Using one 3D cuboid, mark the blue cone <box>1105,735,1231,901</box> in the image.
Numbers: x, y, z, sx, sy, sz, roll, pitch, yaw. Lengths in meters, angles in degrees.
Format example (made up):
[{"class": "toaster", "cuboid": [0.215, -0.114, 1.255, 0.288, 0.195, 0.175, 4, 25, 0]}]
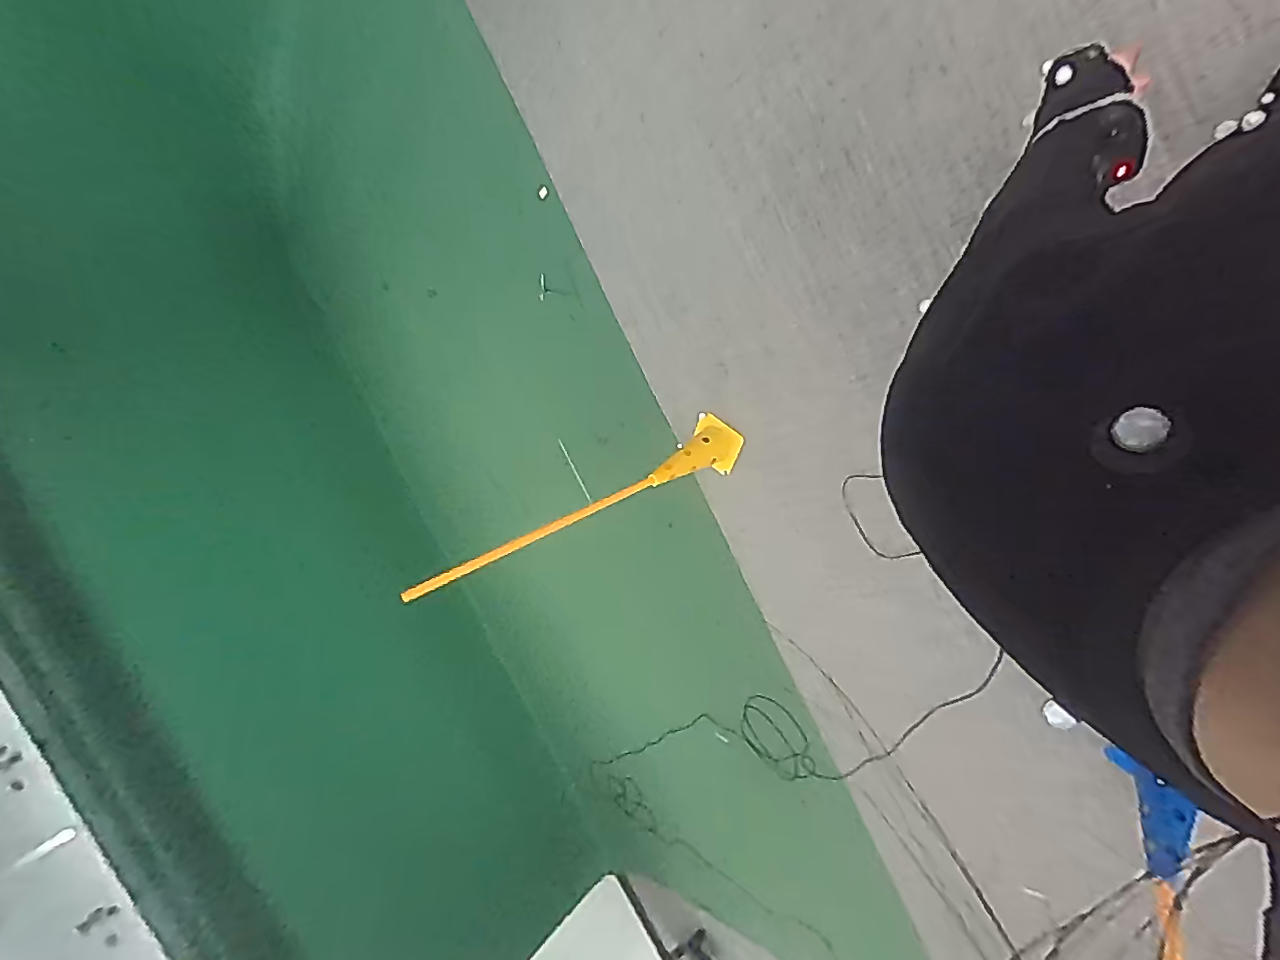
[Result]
[{"class": "blue cone", "cuboid": [1.243, 0.820, 1.286, 0.193, 0.380, 0.192, 33, 134, 28]}]
